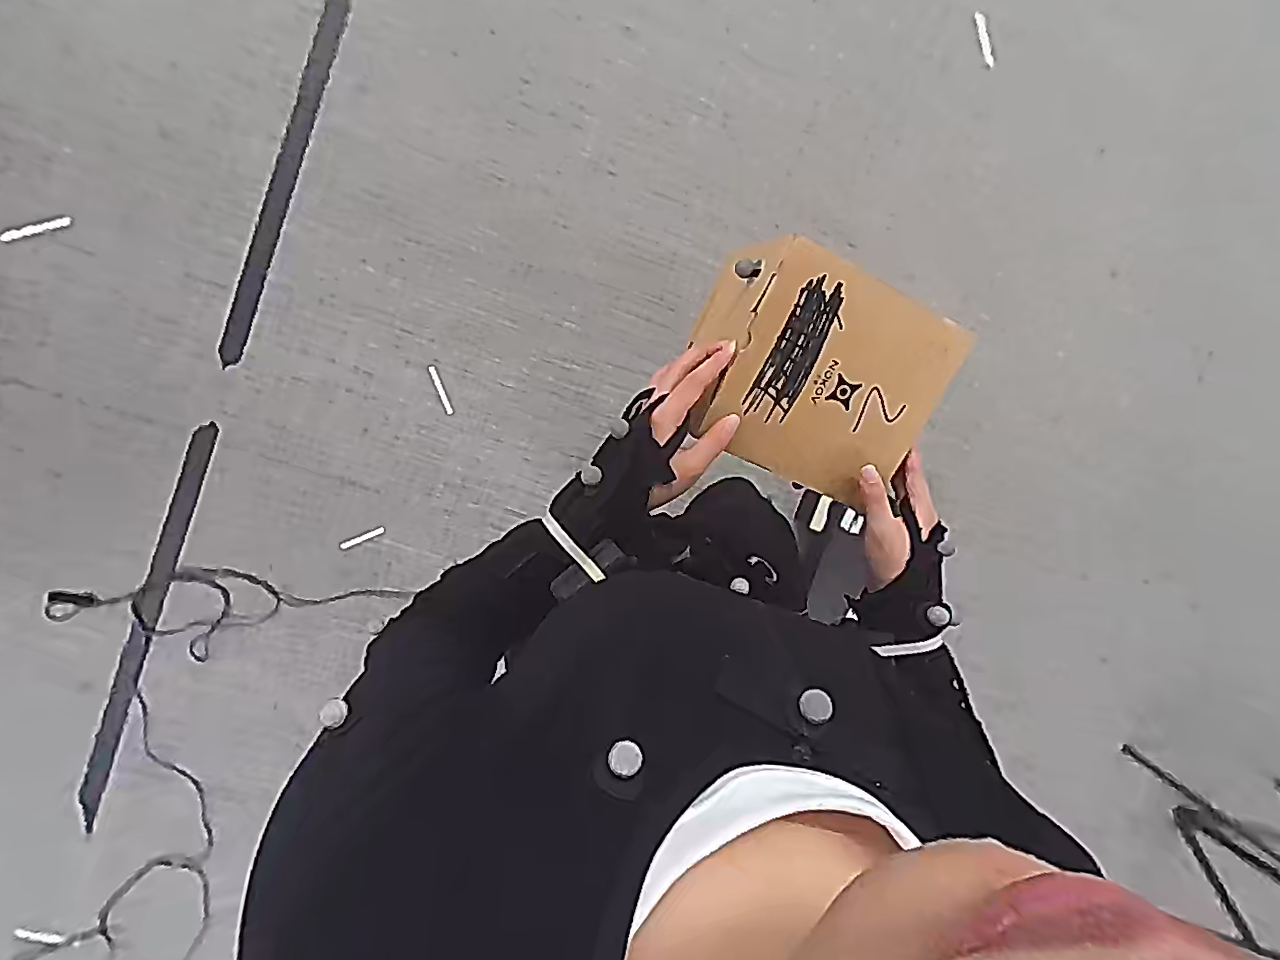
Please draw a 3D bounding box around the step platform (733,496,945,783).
[{"bbox_3d":[0.492,0.396,1.363,0.286,0.204,0.684,19,93,-10],"label":"step platform"}]
